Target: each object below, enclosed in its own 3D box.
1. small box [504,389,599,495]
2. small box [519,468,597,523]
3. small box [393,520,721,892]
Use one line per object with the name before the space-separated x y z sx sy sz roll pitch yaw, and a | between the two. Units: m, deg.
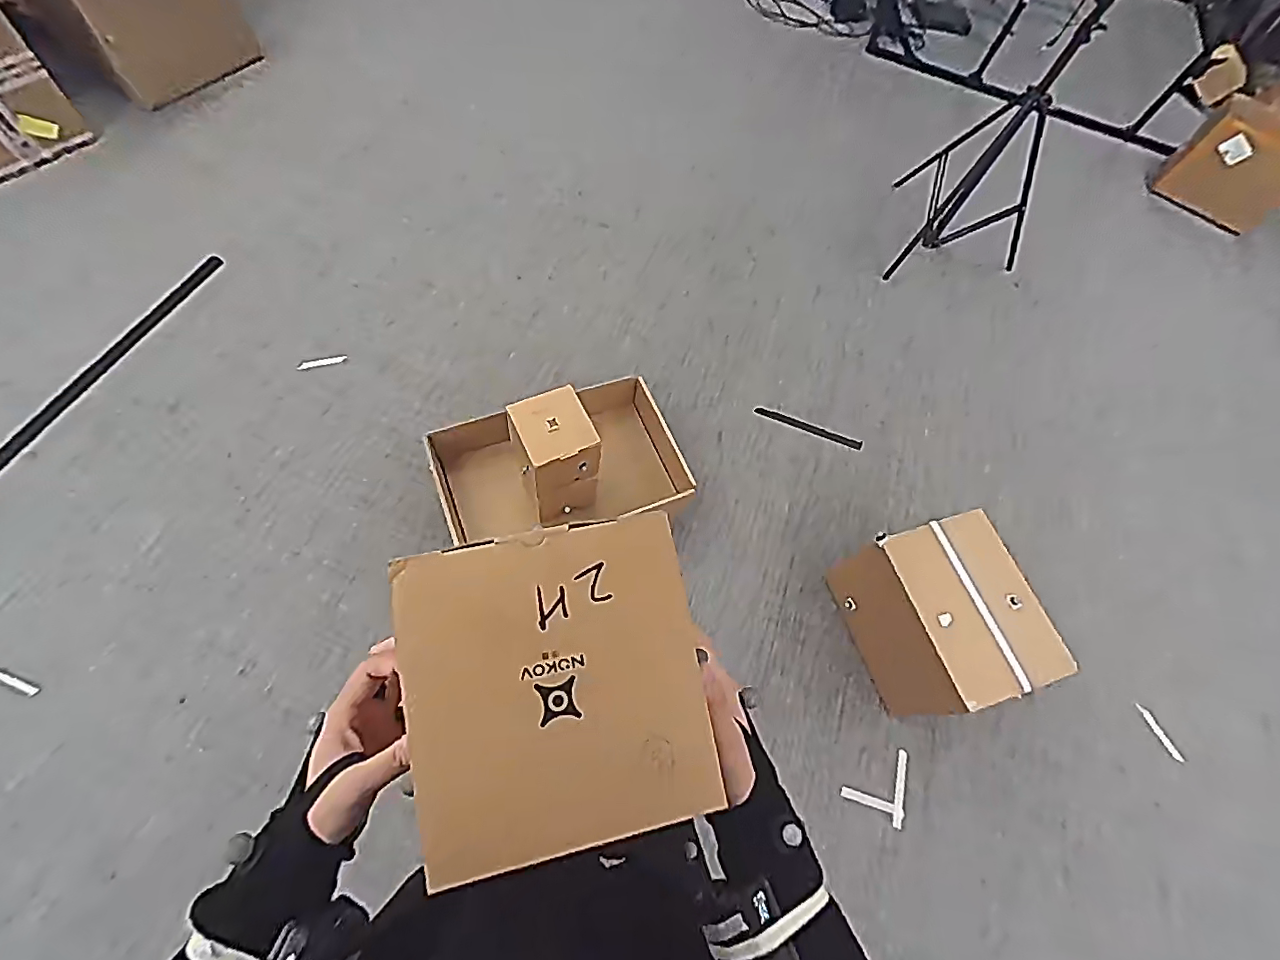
small box | -0.211 -0.081 1.300 0.168 0.176 0.179 -23 69 -19
small box | -0.225 -0.011 1.445 0.168 0.176 0.179 -19 69 -16
small box | -0.058 0.135 0.387 0.168 0.176 0.179 -10 80 -11
